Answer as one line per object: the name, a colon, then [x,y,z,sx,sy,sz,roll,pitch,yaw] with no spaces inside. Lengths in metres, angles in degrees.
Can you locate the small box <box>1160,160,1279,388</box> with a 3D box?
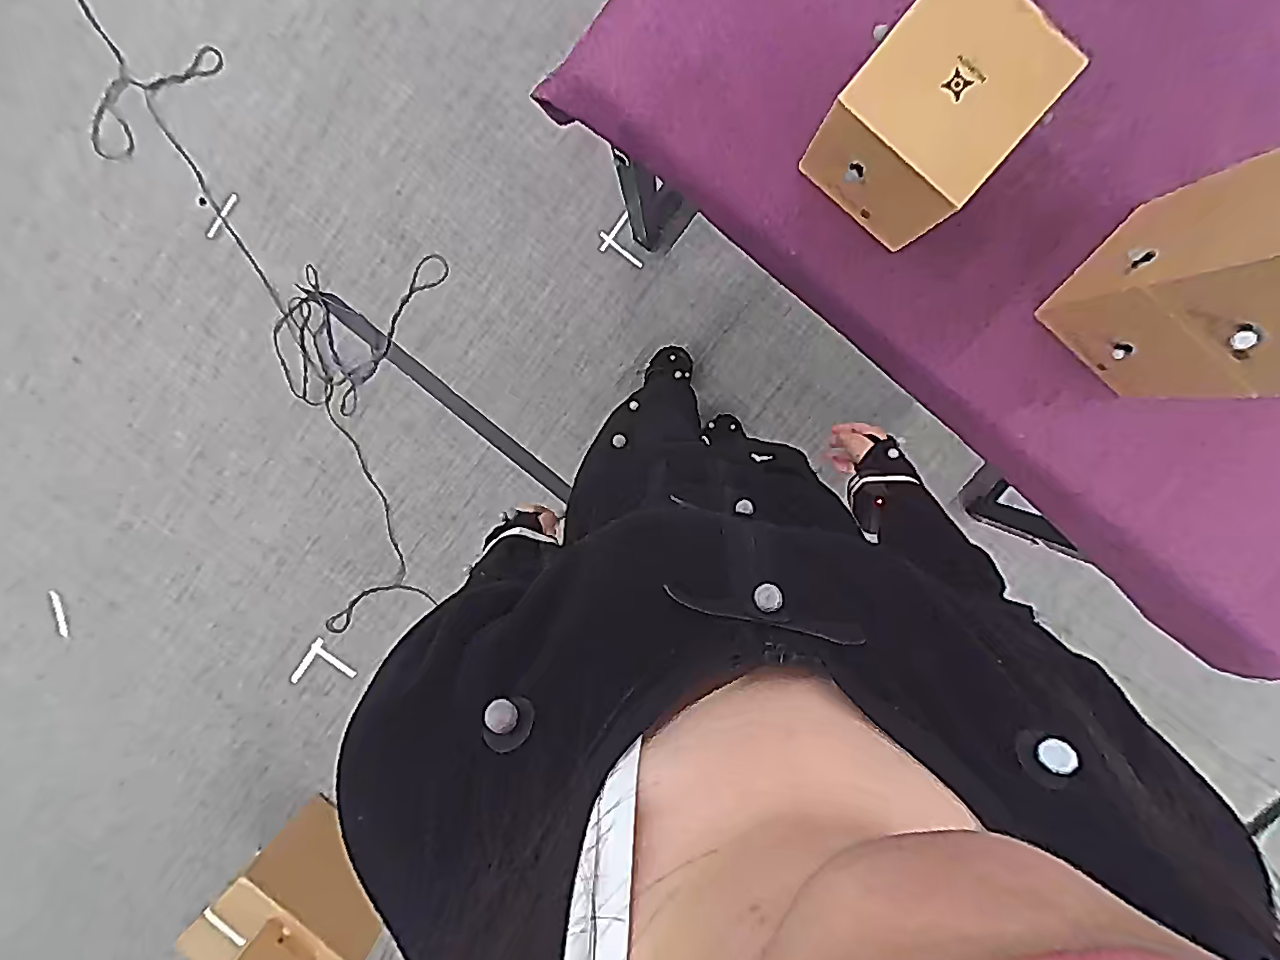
small box: [0.613,-0.191,0.445,0.168,0.176,0.179,42,99,-3]

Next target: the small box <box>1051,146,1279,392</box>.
small box: [0.617,-0.214,0.608,0.168,0.176,0.179,42,98,-3]

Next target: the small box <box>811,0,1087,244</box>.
small box: [0.313,-0.398,0.599,0.168,0.176,0.179,40,97,-3]
